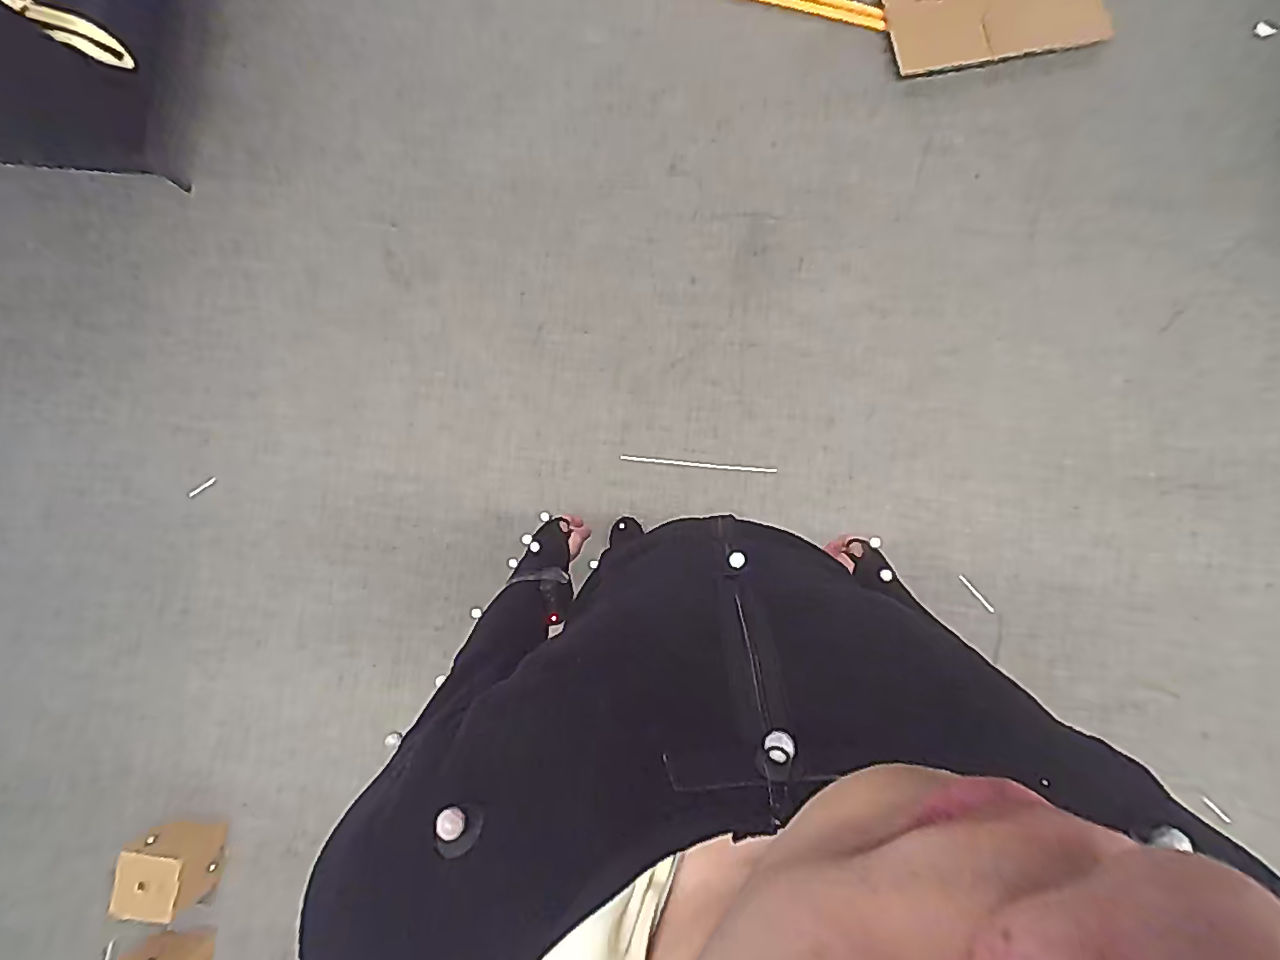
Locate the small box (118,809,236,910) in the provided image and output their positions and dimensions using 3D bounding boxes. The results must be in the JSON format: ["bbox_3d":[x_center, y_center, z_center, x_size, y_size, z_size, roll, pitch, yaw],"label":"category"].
[{"bbox_3d":[-1.315,1.074,1.545,0.179,0.176,0.168,7,85,3],"label":"small box"}]

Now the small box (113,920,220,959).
[{"bbox_3d":[-1.340,1.387,1.520,0.179,0.176,0.168,4,85,2],"label":"small box"}]
